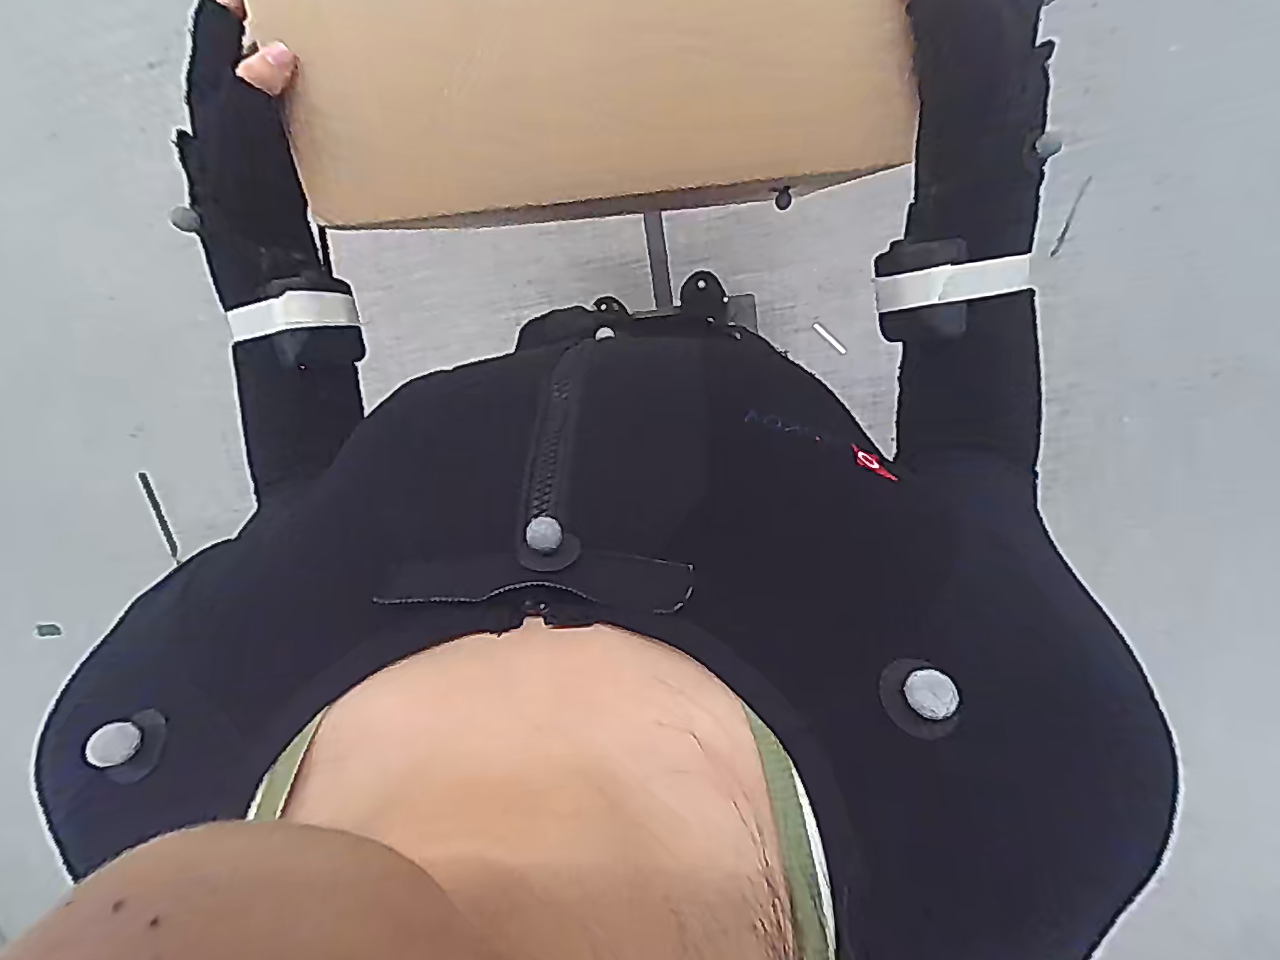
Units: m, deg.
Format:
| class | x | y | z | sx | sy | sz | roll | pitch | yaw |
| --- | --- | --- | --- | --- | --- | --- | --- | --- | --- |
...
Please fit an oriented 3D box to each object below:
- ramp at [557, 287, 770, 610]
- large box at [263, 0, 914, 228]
| class | x | y | z | sx | sy | sz | roll | pitch | yaw |
| --- | --- | --- | --- | --- | --- | --- | --- | --- | --- |
| ramp | 0.112 | -0.020 | 1.601 | 0.509 | 0.206 | 0.991 | -10 | 108 | 6 |
| large box | -0.030 | -0.397 | 0.444 | 0.408 | 0.320 | 0.320 | -3 | 114 | 5 |
